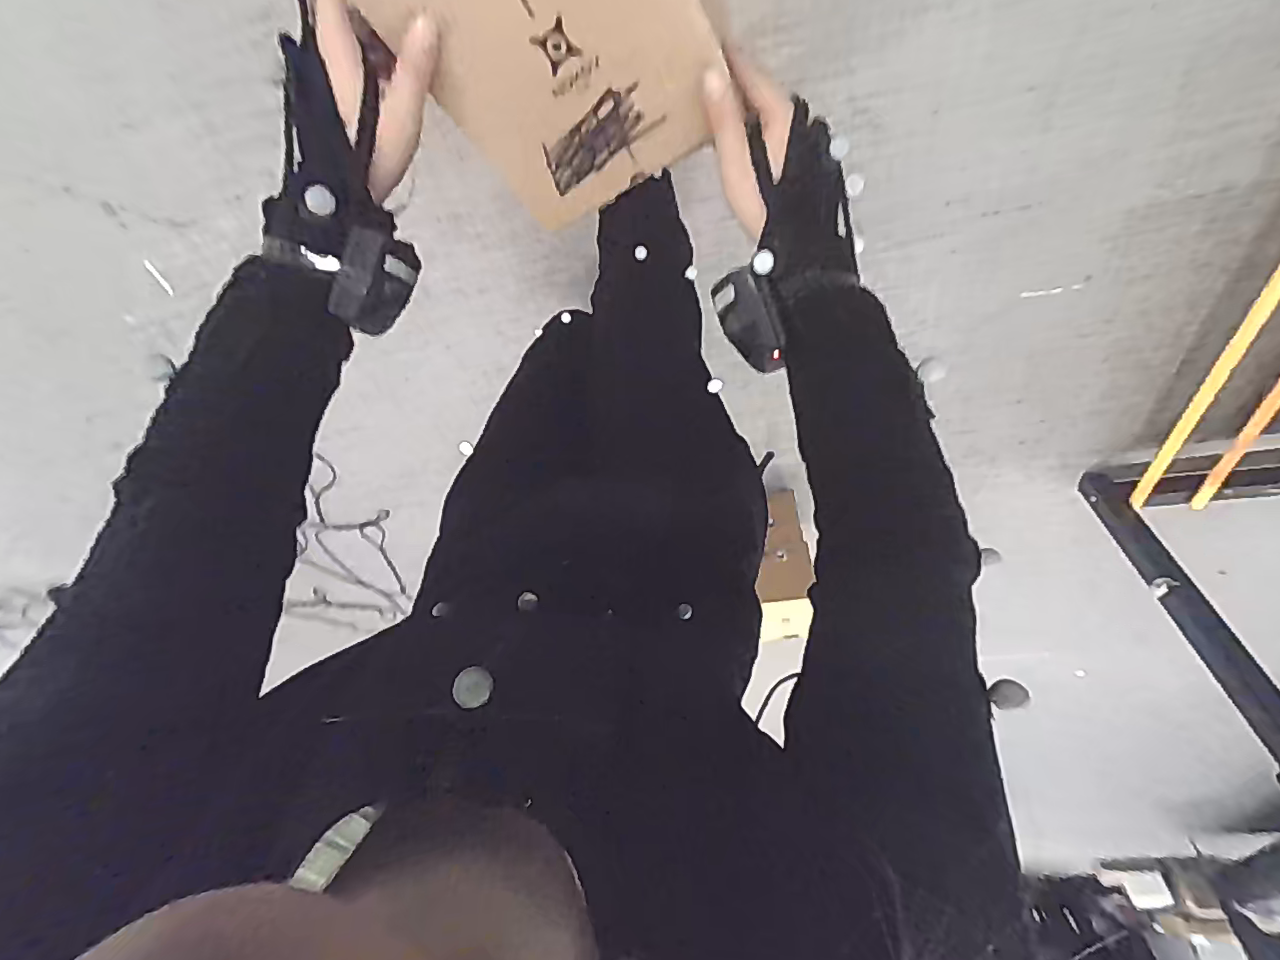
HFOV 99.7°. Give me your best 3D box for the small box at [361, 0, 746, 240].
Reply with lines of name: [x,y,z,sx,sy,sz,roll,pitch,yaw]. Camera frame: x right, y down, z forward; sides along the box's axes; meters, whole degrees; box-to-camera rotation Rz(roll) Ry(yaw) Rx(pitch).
small box: [-0.040,-0.312,0.364,0.168,0.176,0.179,-17,145,27]

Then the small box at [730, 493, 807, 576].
small box: [0.346,0.153,1.446,0.179,0.176,0.168,-11,133,14]

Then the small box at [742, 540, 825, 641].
small box: [0.352,0.272,1.332,0.168,0.176,0.179,-12,133,14]
